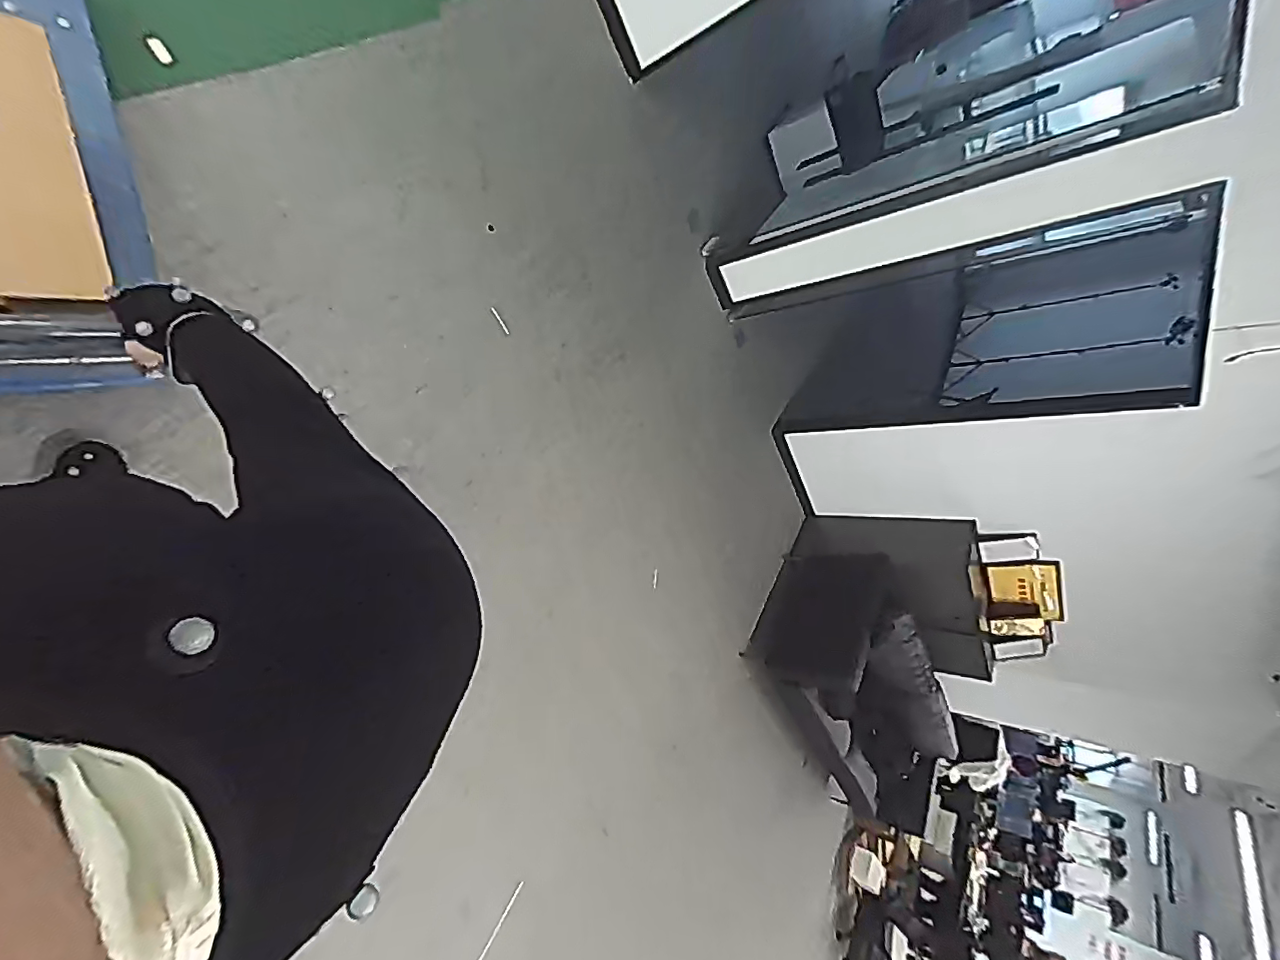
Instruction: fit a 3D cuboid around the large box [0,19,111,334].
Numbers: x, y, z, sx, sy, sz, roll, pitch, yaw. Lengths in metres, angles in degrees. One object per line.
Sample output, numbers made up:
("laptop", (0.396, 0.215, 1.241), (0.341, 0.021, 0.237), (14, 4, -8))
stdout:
("large box", (-1.093, -0.452, 0.831), (0.320, 0.320, 0.408), (-18, 102, -49))
